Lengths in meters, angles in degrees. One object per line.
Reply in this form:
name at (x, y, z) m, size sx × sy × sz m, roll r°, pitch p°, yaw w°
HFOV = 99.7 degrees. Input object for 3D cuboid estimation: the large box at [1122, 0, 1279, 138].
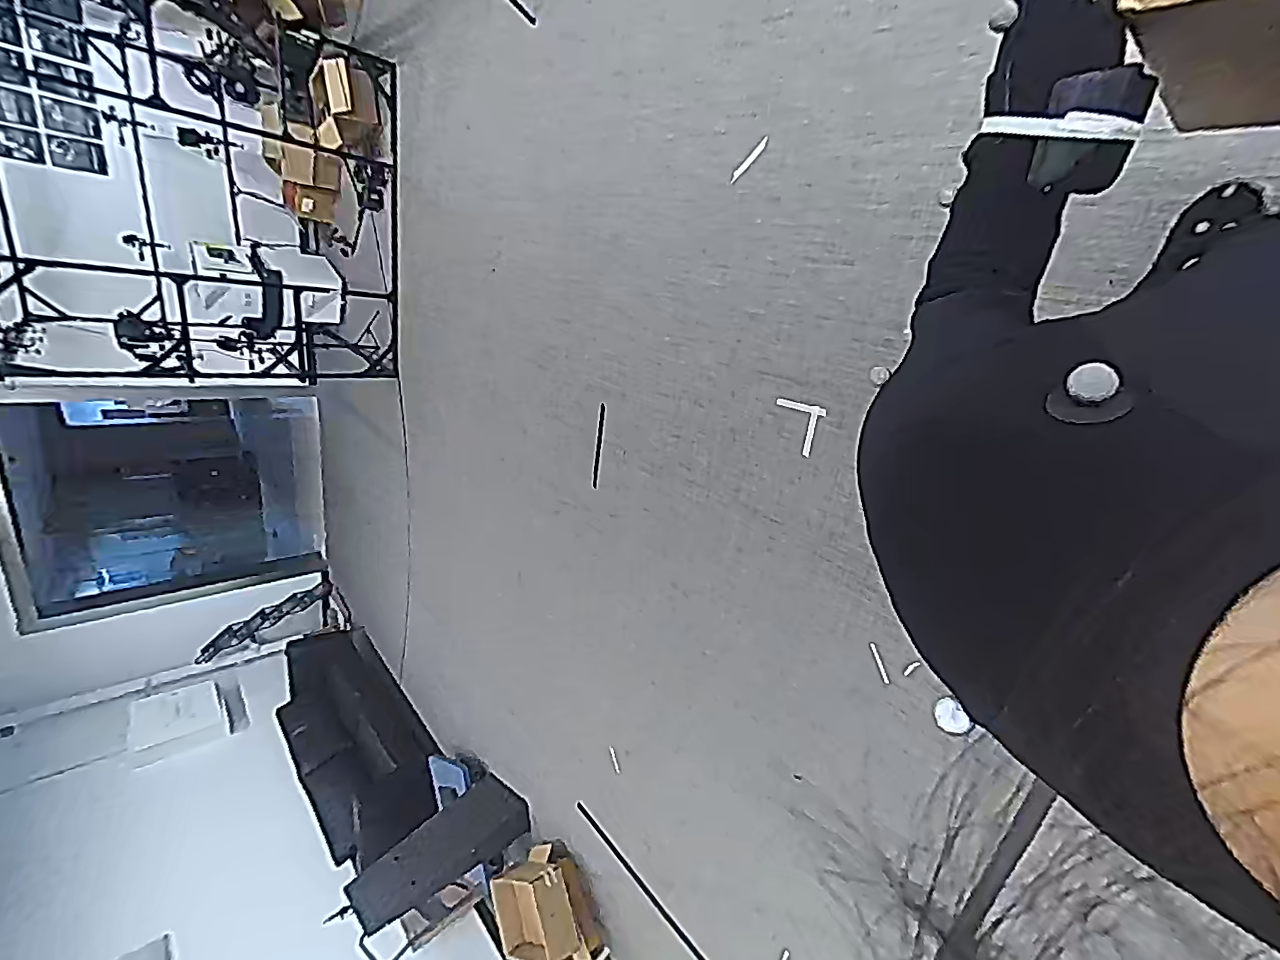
large box at (0.534, -0.379, 0.232) m, size 0.408 × 0.320 × 0.320 m, roll 25°, pitch 120°, yaw 42°
